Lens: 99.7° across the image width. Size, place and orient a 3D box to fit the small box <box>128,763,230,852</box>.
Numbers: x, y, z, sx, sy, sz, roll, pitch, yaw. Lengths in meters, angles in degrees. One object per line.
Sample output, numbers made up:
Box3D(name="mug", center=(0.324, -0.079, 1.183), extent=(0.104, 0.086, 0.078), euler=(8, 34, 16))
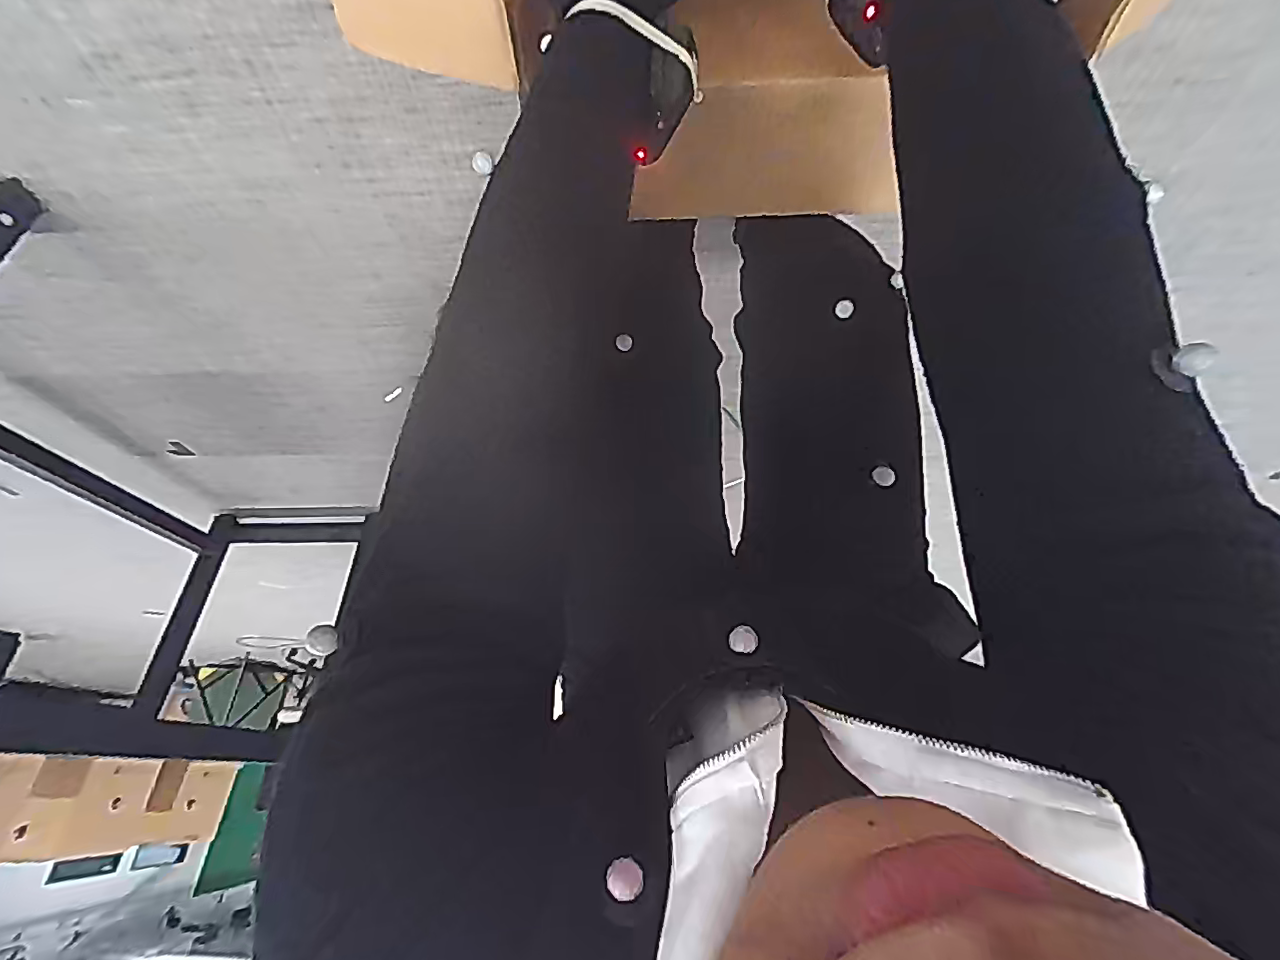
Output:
Box3D(name="small box", center=(-1.118, 0.766, 1.276), extent=(0.179, 0.176, 0.168), euler=(0, 150, 4))

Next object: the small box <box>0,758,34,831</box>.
Box3D(name="small box", center=(-1.129, 0.521, 0.835), extent=(0.179, 0.176, 0.168), euler=(-1, 151, 2))

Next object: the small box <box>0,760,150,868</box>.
Box3D(name="small box", center=(-1.128, 0.651, 1.066), extent=(0.179, 0.176, 0.168), euler=(0, 150, 3))
